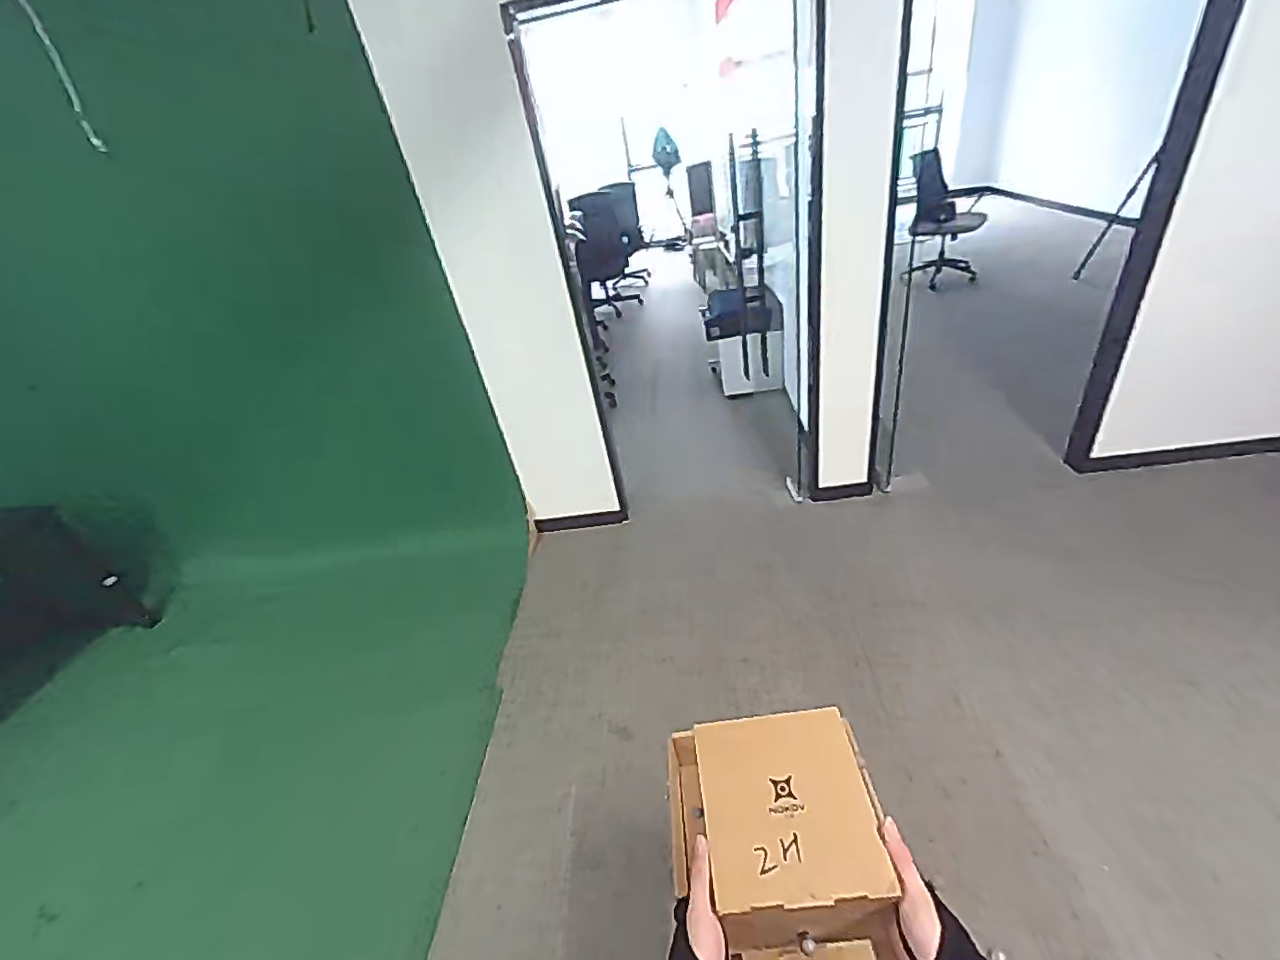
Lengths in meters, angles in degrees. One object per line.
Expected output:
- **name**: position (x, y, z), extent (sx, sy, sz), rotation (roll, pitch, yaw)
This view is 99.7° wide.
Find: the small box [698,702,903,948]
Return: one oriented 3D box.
- **small box**: position (0.159, 0.374, 0.590), extent (0.168, 0.176, 0.179), rotation (-9, 39, 4)
